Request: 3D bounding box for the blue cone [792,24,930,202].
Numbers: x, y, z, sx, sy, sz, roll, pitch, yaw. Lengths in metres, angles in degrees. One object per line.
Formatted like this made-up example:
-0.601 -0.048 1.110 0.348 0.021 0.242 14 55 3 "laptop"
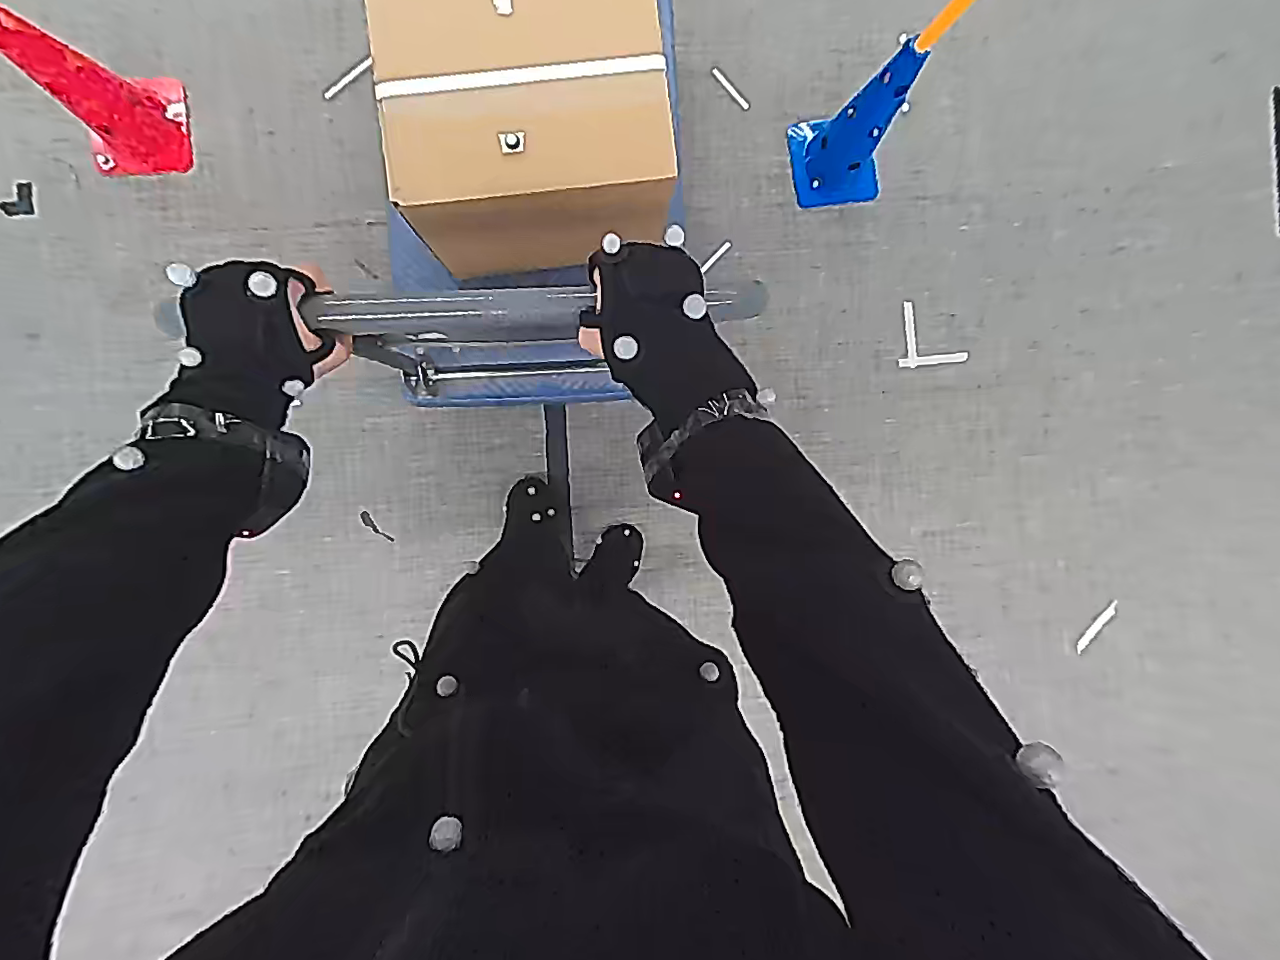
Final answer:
0.470 -0.751 1.107 0.193 0.380 0.192 -8 91 -4 "blue cone"
